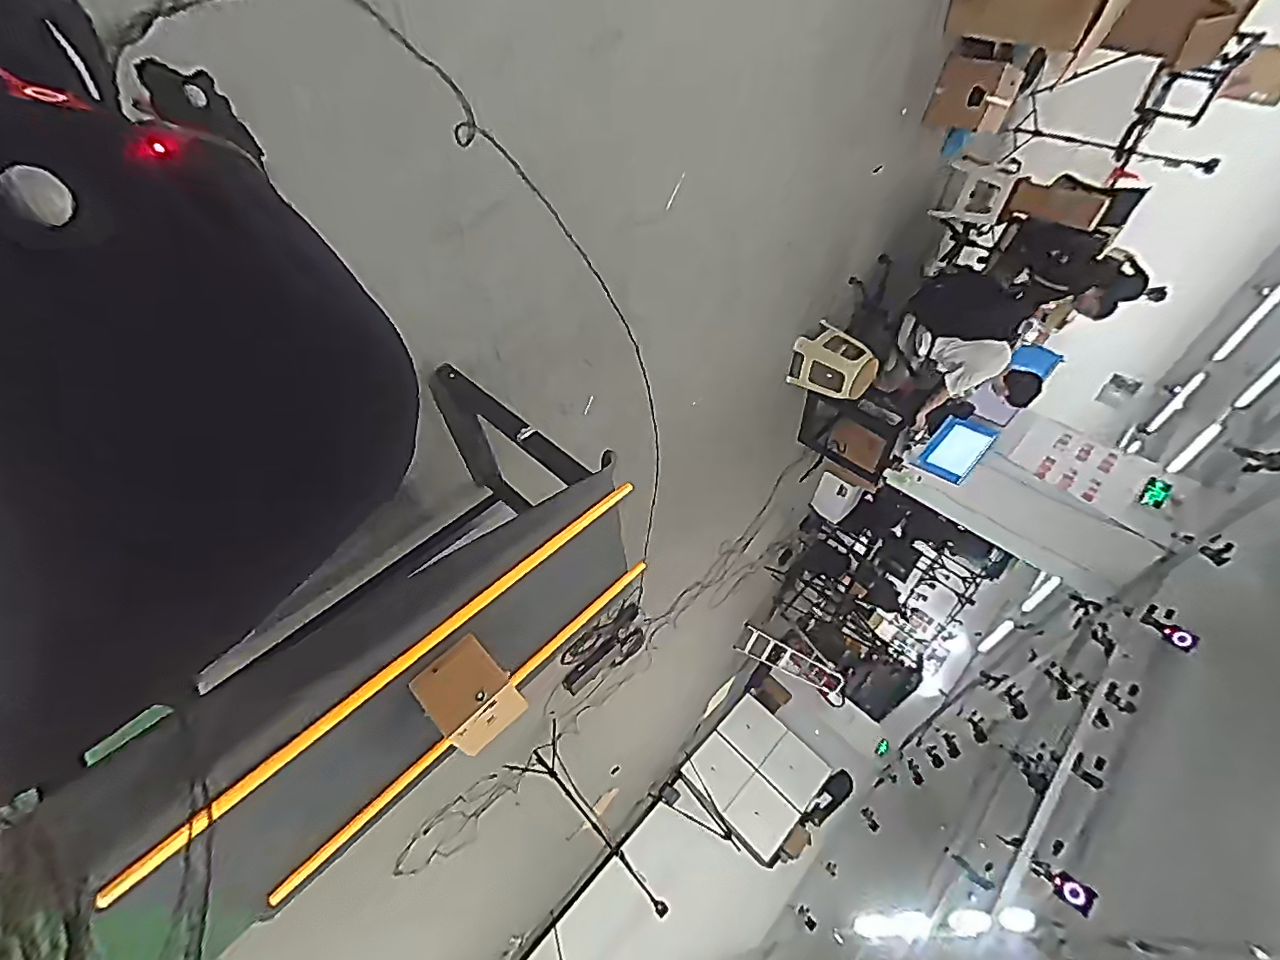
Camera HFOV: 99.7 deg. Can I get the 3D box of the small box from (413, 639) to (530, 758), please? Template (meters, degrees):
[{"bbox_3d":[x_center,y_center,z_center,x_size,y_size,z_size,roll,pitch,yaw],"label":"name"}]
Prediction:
[{"bbox_3d":[-0.385,0.498,1.247,0.168,0.176,0.179,-41,149,-24],"label":"small box"}]
